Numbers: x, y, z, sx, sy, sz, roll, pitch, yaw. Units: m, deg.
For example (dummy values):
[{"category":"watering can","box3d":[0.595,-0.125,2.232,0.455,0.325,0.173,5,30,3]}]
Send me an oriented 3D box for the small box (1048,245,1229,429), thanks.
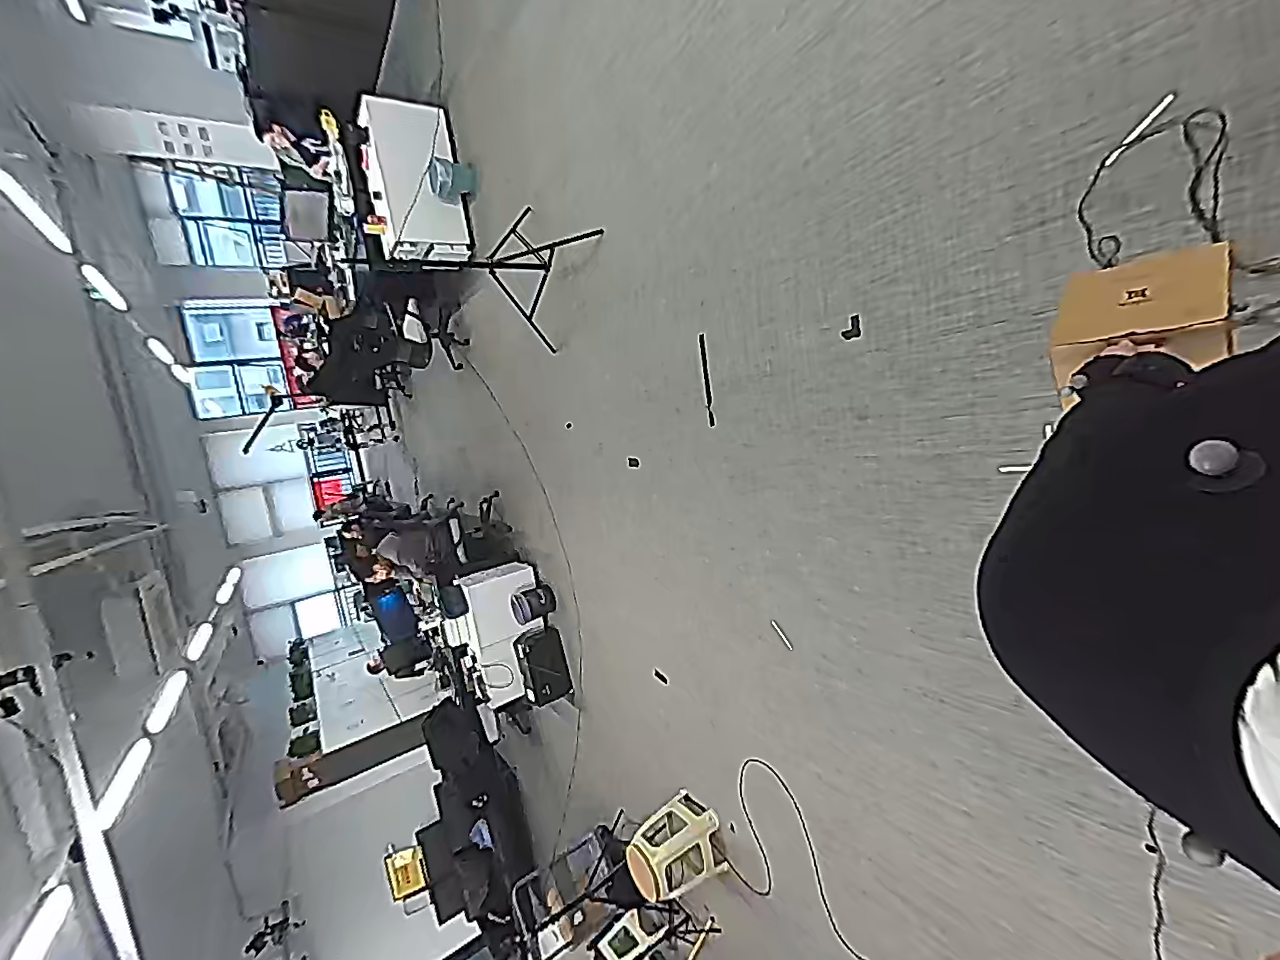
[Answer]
[{"category":"small box","box3d":[0.694,-0.184,0.751,0.168,0.179,0.176,0,135,48]}]
